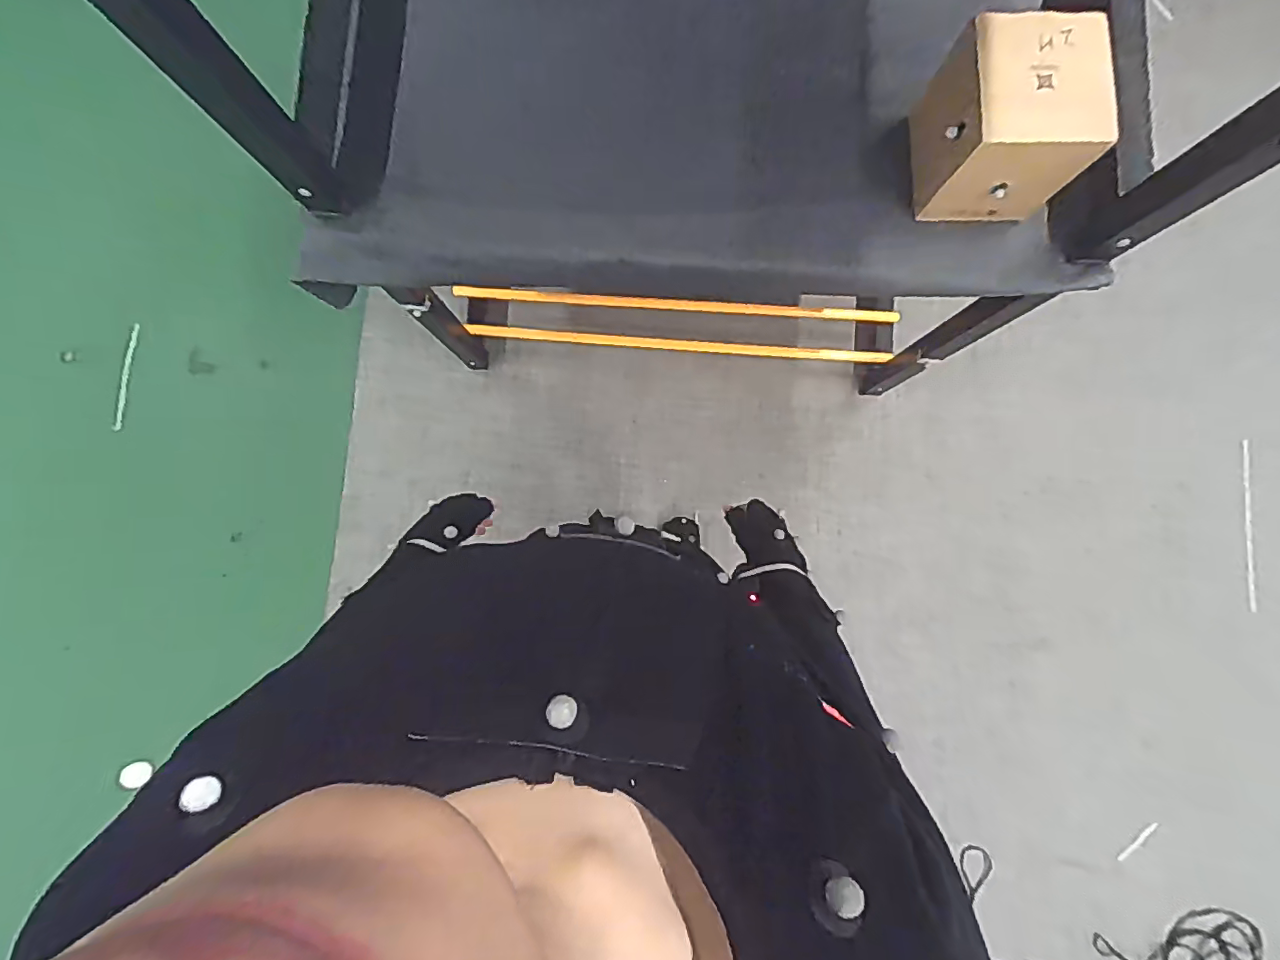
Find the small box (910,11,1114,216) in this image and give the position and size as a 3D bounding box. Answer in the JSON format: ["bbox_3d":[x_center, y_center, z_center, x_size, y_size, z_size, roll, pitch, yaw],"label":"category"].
[{"bbox_3d":[0.494,-0.488,0.743,0.168,0.176,0.179,0,84,0],"label":"small box"}]
